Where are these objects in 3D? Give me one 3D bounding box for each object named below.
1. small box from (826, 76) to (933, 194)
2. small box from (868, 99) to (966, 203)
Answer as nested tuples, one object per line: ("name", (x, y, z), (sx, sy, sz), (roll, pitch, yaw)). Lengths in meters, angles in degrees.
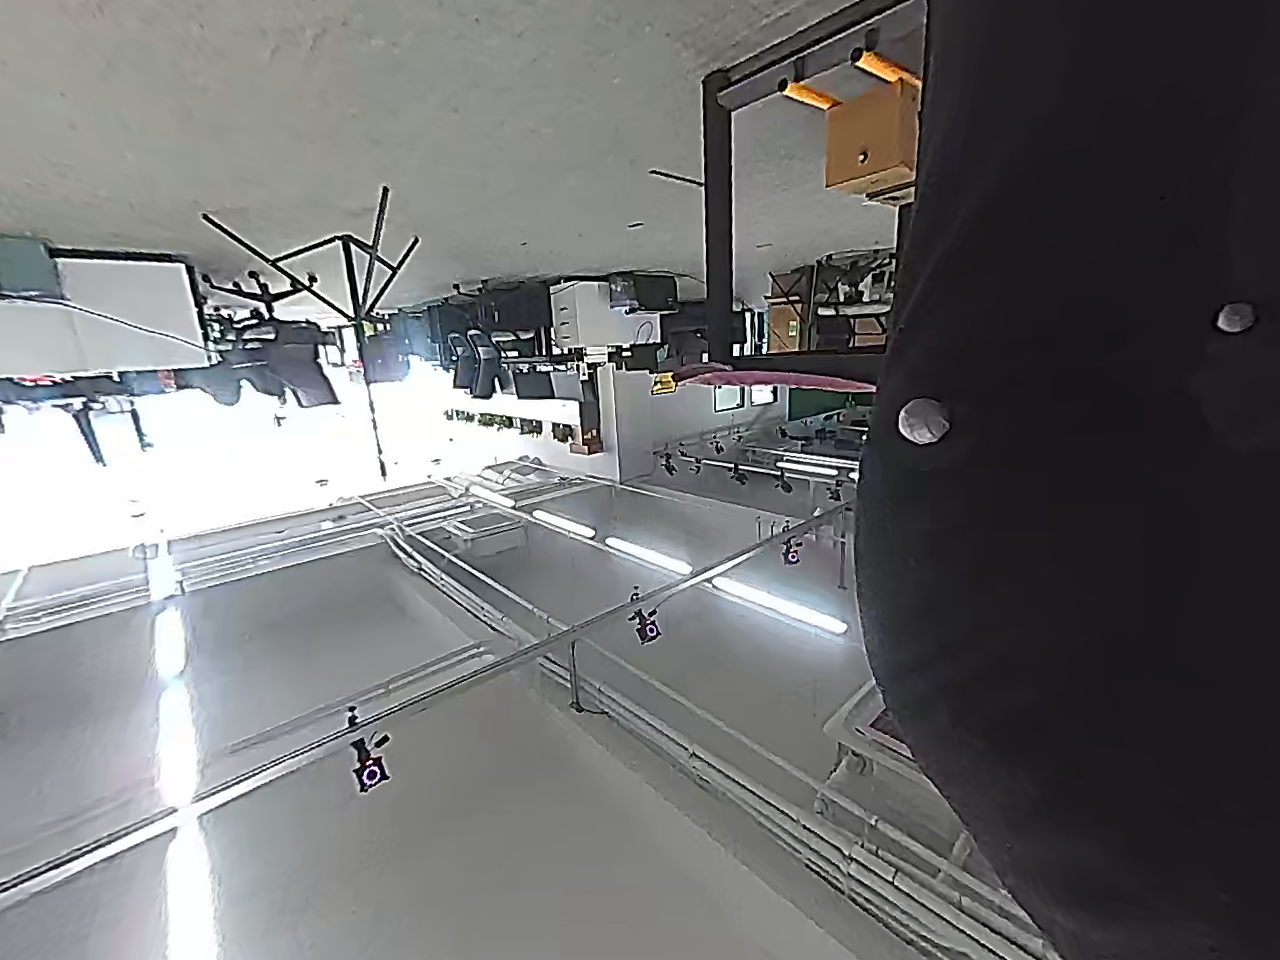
("small box", (0.547, -0.778, 1.236), (0.168, 0.176, 0.179), (-16, -163, -38))
("small box", (0.700, -0.823, 1.367), (0.168, 0.176, 0.179), (-16, -163, -38))
